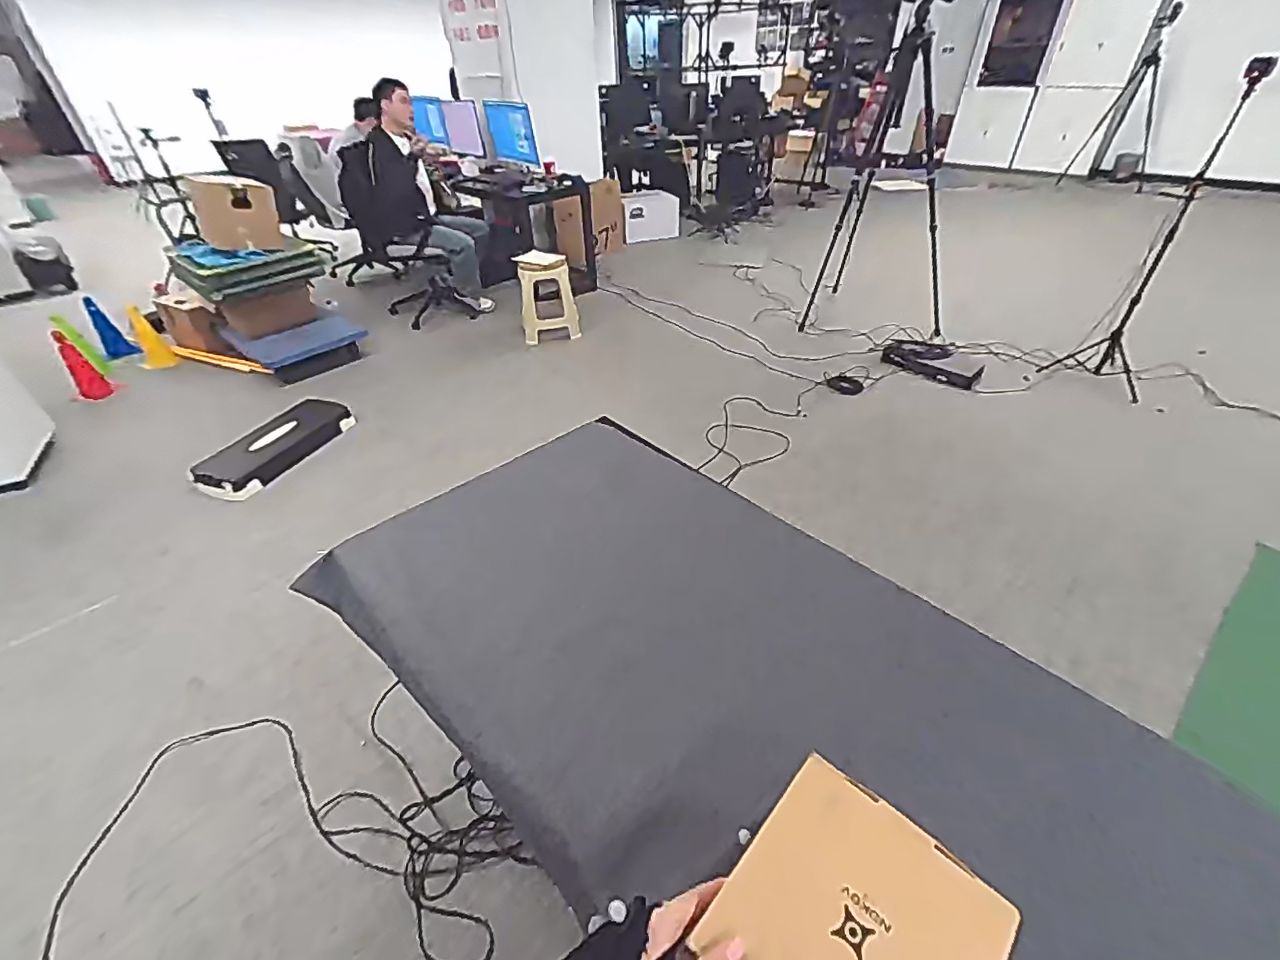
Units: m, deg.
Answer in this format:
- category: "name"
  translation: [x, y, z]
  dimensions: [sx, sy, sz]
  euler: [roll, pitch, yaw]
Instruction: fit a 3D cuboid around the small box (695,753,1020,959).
- category: "small box"
  translation: [0.154, 0.369, 0.428]
  dimensions: [0.168, 0.176, 0.179]
  euler: [30, 51, 31]
